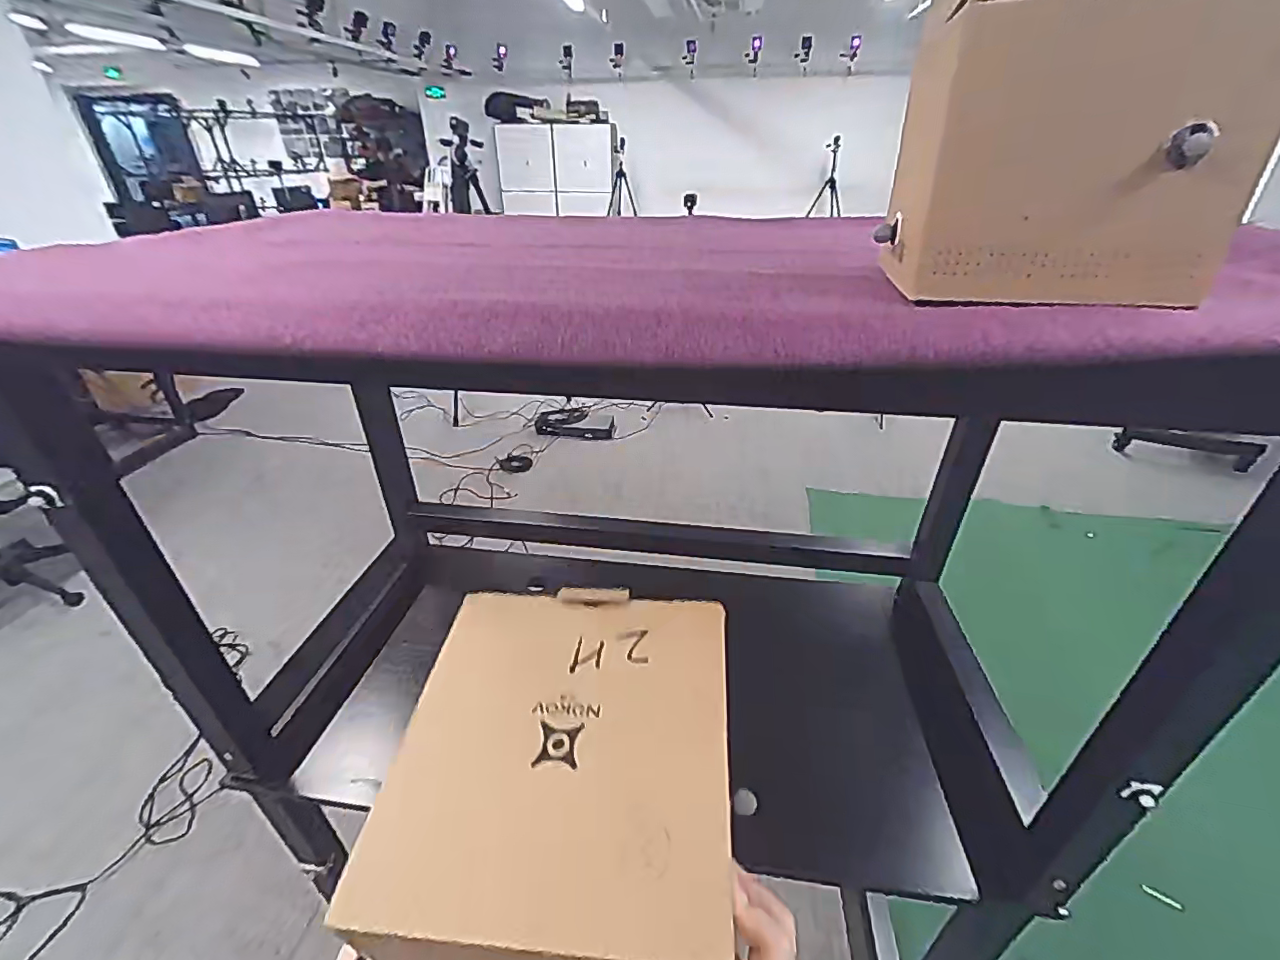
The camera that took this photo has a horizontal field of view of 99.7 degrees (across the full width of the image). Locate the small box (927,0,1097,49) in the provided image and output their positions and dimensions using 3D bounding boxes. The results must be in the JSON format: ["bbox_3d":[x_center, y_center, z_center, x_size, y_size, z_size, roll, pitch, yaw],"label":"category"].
[{"bbox_3d":[0.289,-0.369,0.325,0.179,0.176,0.168,8,30,15],"label":"small box"}]

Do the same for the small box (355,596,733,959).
[{"bbox_3d":[-0.028,0.196,0.334,0.168,0.176,0.179,1,38,7],"label":"small box"}]

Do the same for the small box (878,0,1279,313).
[{"bbox_3d":[0.293,-0.223,0.398,0.179,0.176,0.168,5,29,12],"label":"small box"}]
